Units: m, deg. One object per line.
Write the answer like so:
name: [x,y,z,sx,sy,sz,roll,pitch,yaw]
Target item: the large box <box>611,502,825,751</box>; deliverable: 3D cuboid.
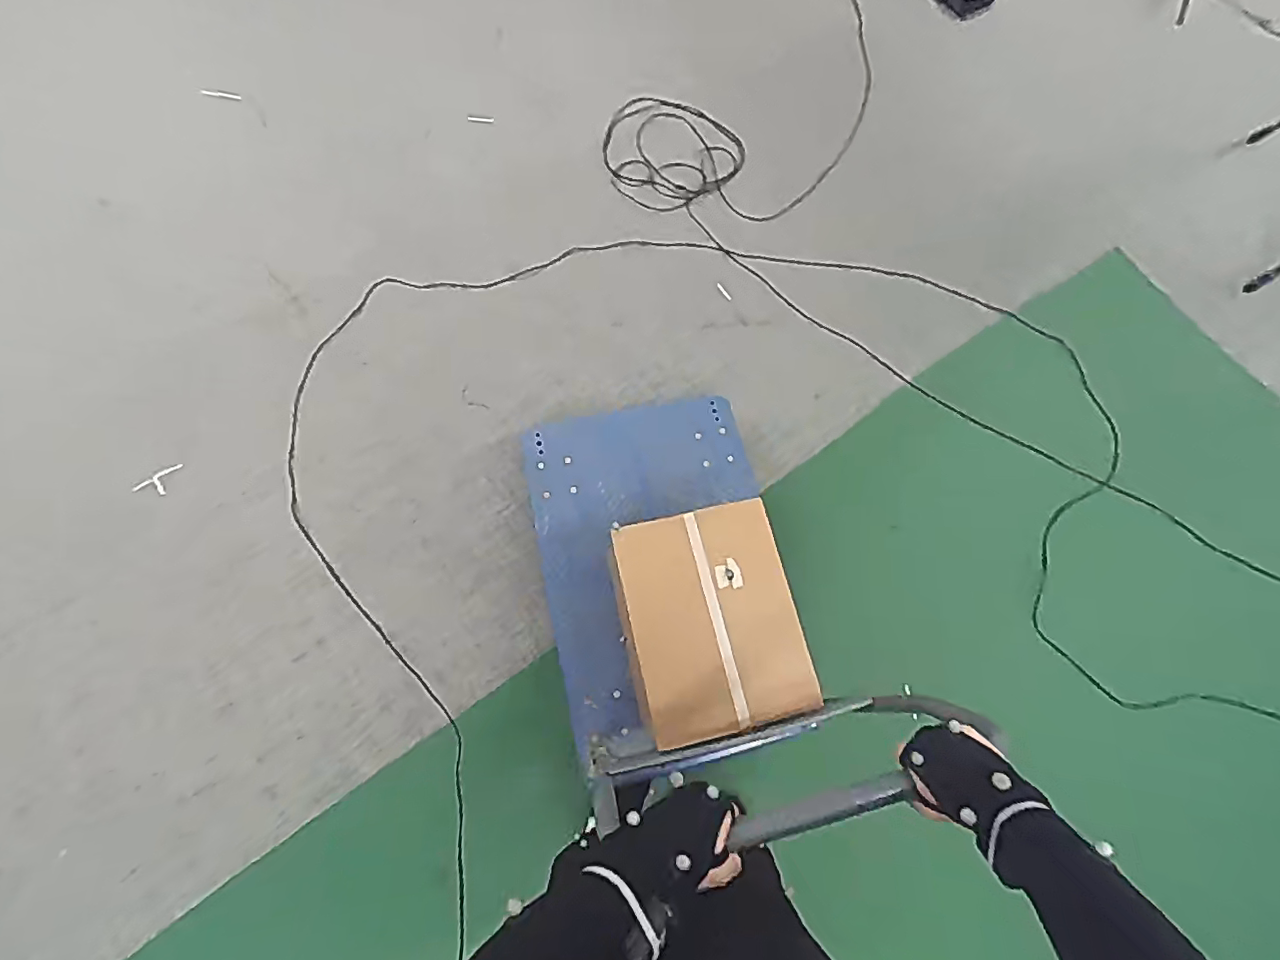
large box: [0.132,0.307,1.154,0.320,0.320,0.408,-12,72,-9]
